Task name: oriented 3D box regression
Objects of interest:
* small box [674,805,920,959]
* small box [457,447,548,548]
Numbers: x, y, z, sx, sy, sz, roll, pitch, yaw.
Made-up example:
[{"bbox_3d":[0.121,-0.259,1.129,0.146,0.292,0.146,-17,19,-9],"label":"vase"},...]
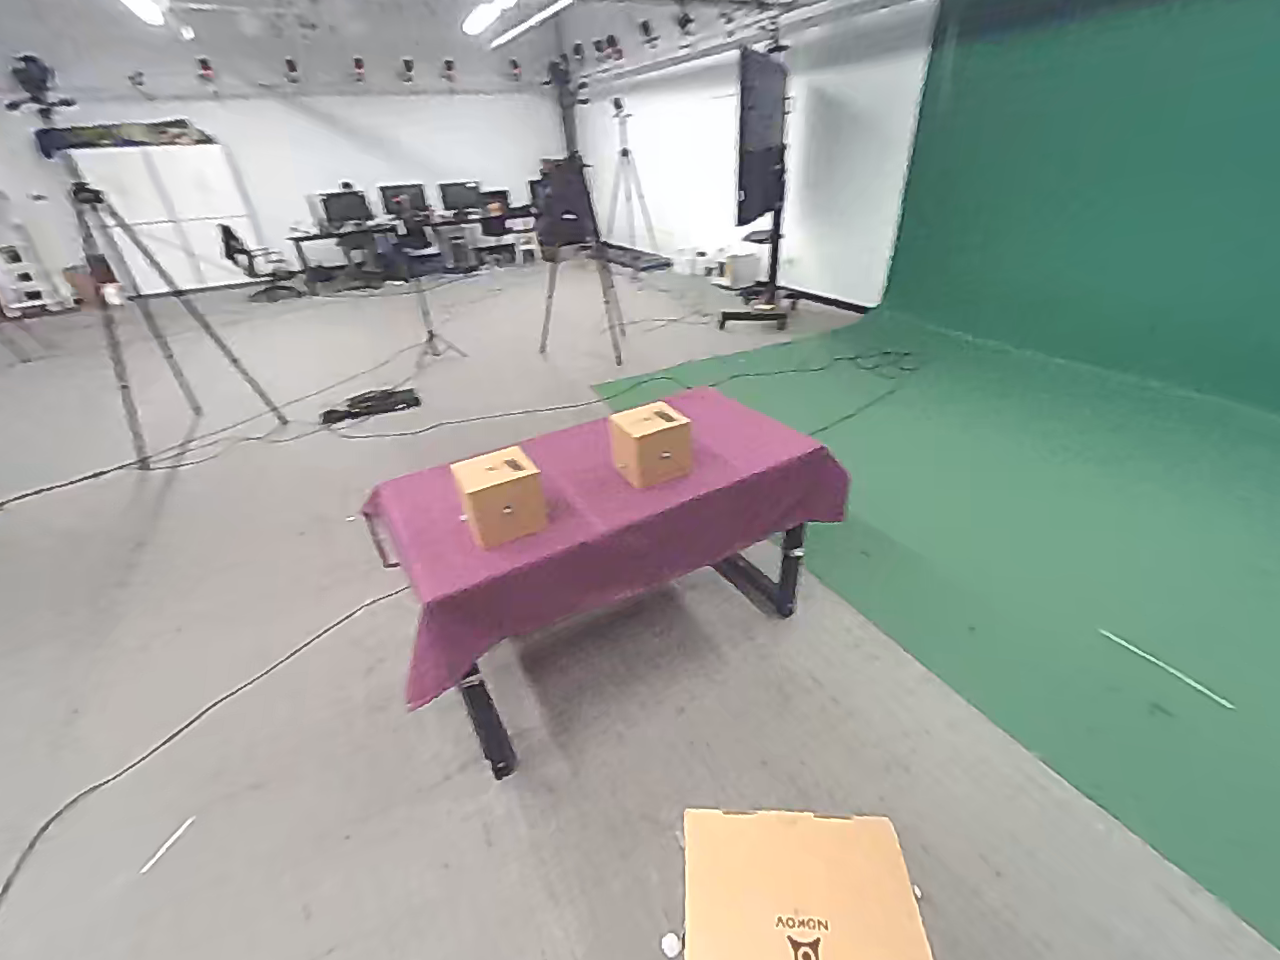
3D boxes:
[{"bbox_3d":[0.112,0.384,0.415,0.168,0.176,0.179,-1,33,5],"label":"small box"},{"bbox_3d":[-0.339,0.042,1.358,0.179,0.176,0.168,-19,34,-23],"label":"small box"}]
